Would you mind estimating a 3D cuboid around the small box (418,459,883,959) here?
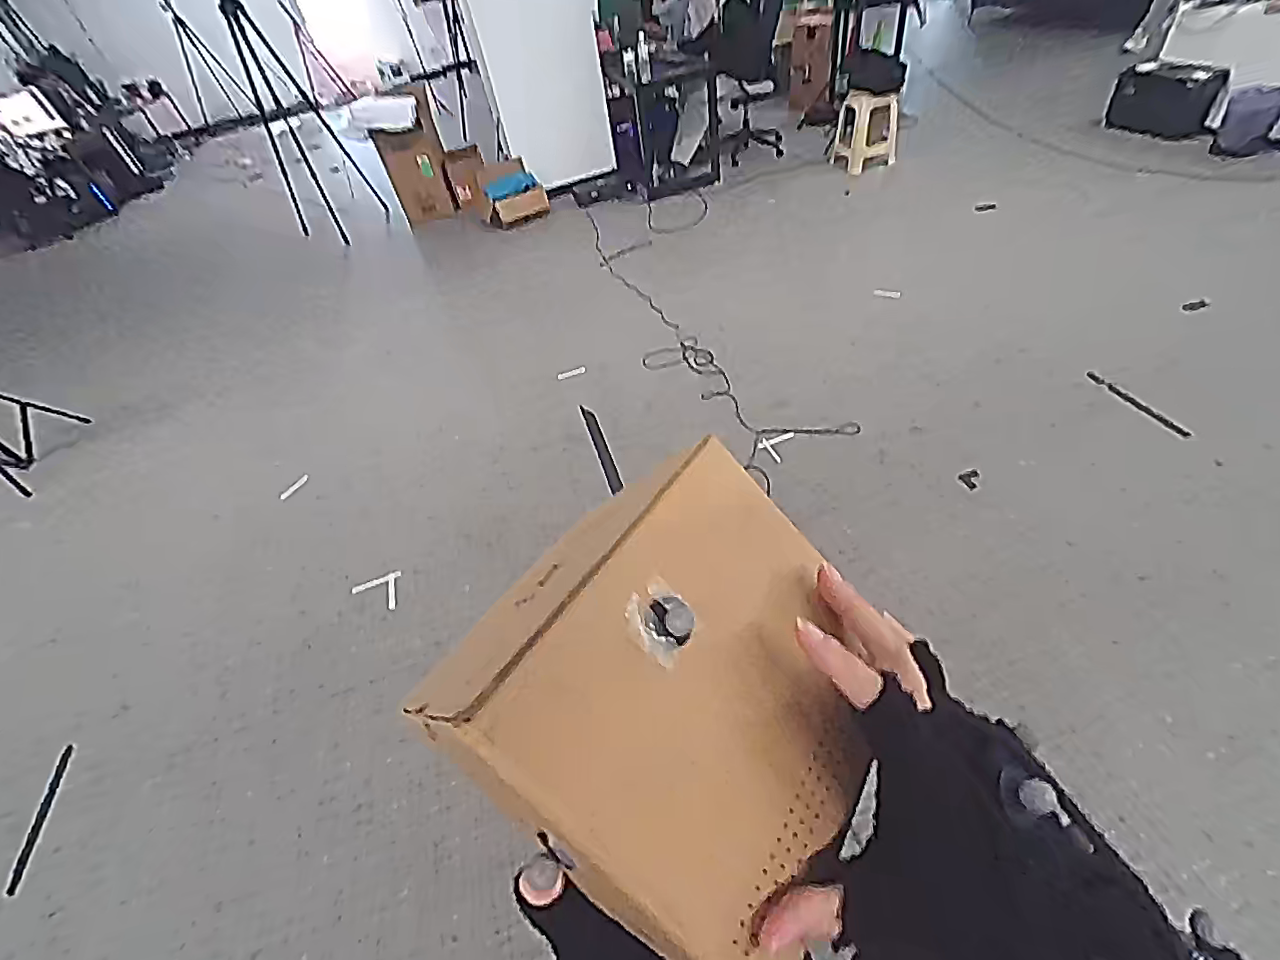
[{"bbox_3d":[0.005,0.124,0.314,0.176,0.168,0.179,47,57,-6],"label":"small box"}]
